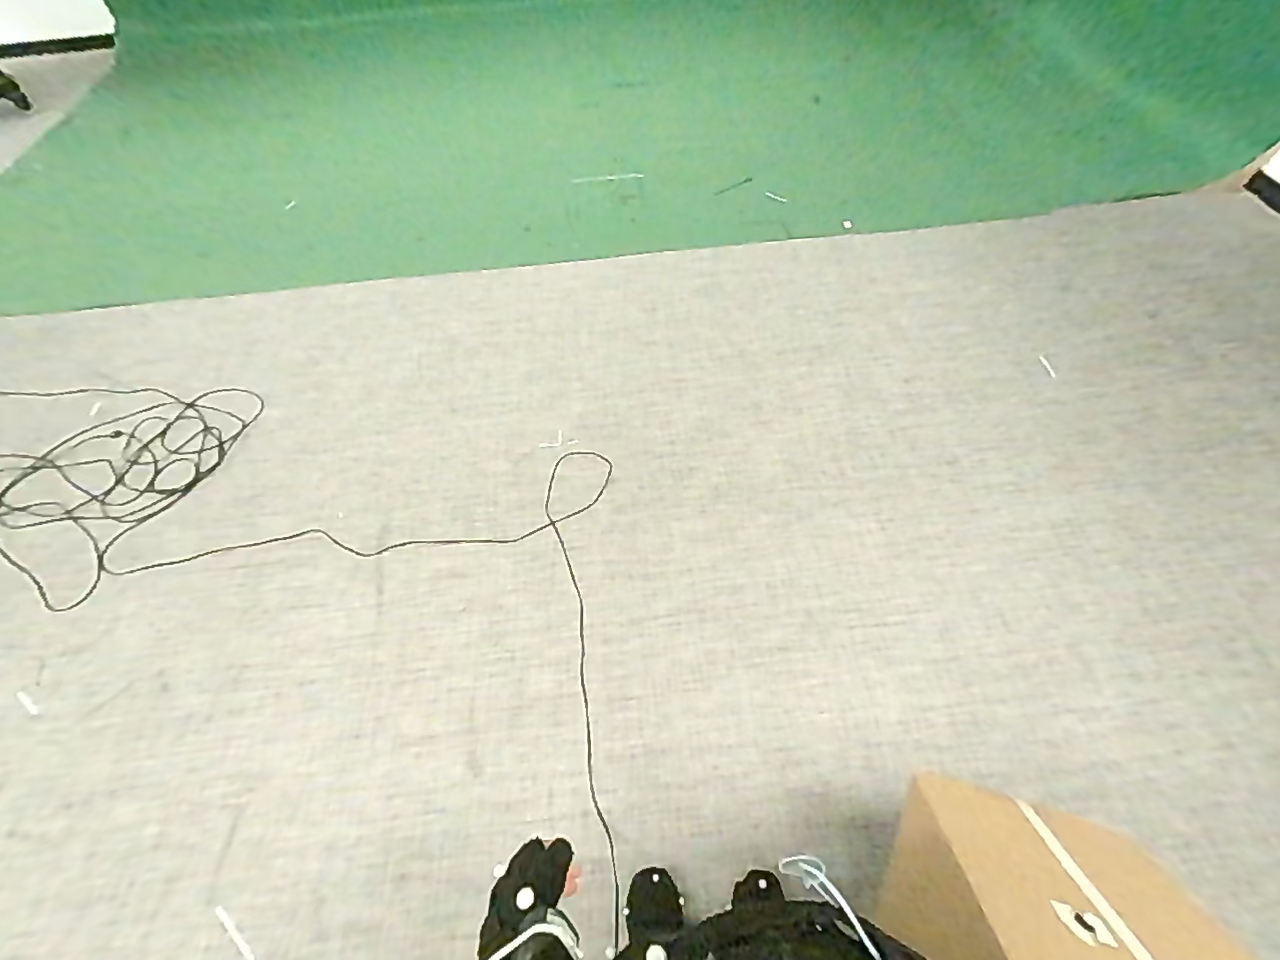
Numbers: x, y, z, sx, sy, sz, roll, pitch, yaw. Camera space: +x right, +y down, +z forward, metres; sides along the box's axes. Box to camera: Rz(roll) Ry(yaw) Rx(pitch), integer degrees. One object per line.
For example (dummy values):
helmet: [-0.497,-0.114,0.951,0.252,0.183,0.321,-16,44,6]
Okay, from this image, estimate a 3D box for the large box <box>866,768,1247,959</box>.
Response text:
large box: [0.506,0.647,0.655,0.320,0.408,0.320,13,95,12]
